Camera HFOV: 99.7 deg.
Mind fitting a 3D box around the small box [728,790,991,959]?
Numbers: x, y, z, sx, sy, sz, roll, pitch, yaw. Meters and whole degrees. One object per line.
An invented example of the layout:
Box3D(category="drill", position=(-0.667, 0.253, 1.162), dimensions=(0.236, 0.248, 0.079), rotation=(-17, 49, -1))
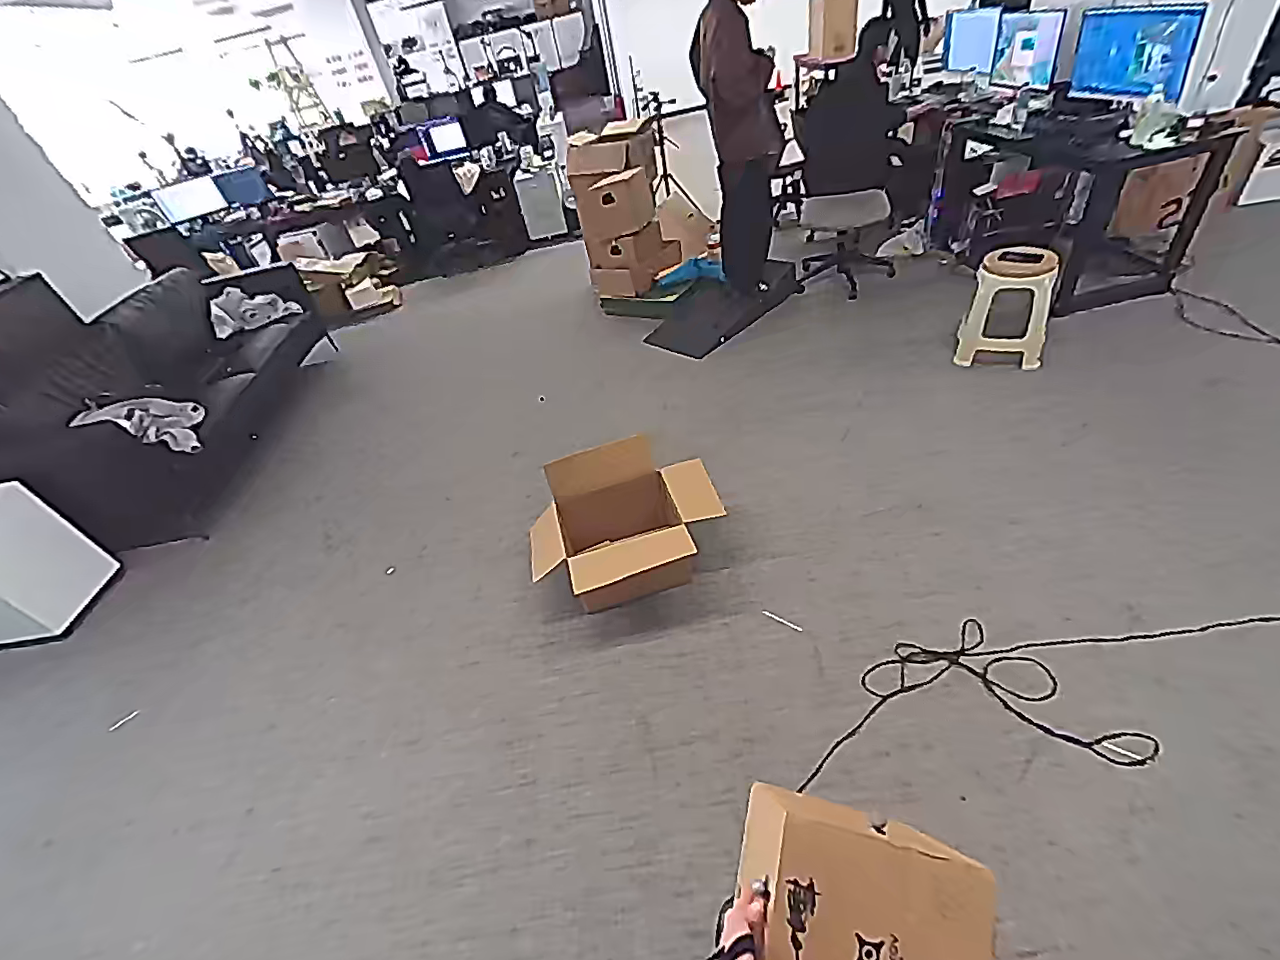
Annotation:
Box3D(category="small box", position=(0.191, 0.407, 0.504), dimensions=(0.179, 0.176, 0.168), rotation=(12, 68, 6))
